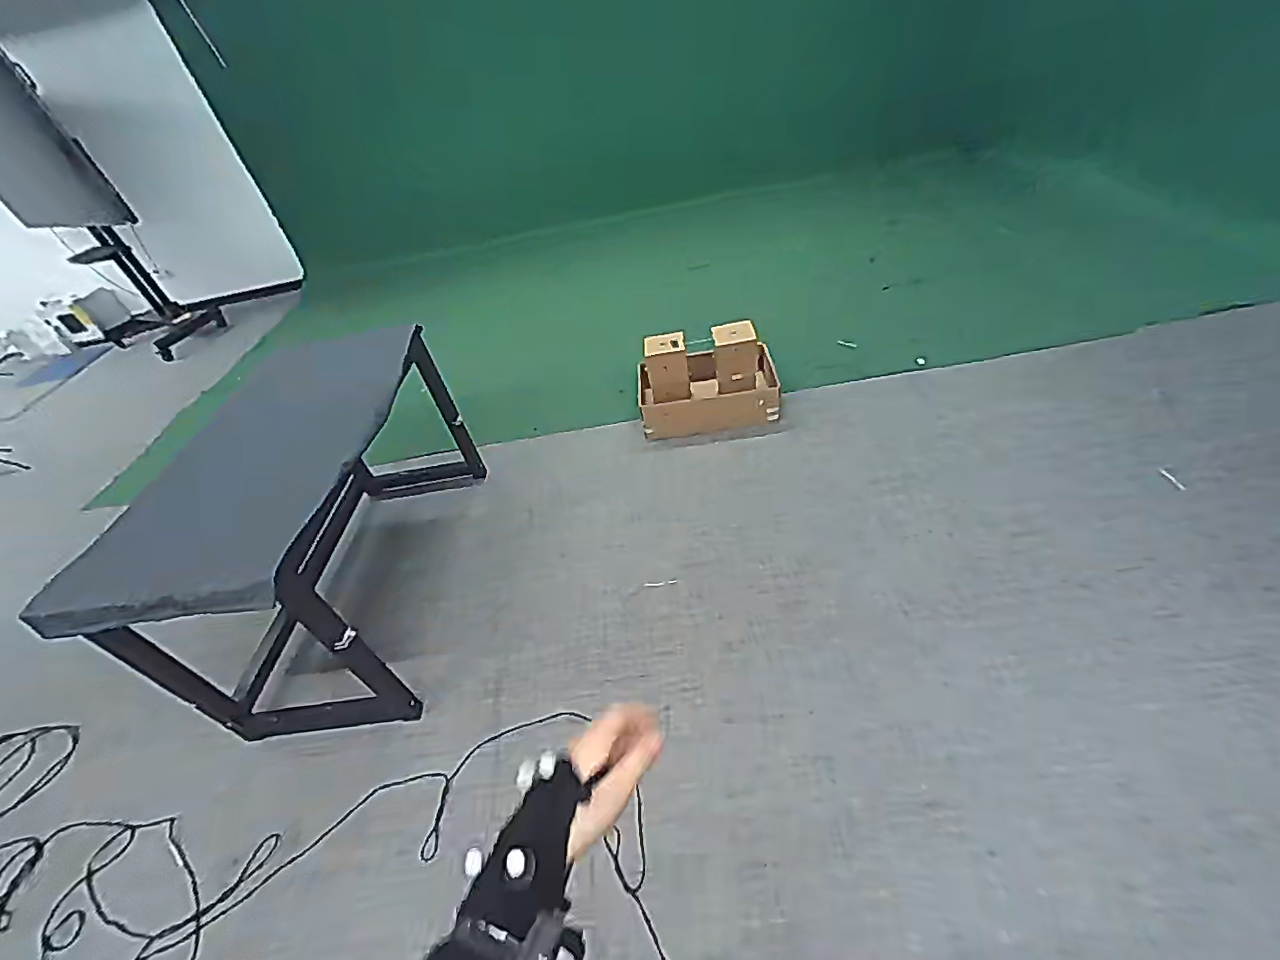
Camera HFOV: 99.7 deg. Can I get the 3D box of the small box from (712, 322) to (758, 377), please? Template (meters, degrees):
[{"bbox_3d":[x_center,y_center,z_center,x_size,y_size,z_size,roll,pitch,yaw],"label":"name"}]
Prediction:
[{"bbox_3d":[0.417,-0.566,2.364,0.179,0.176,0.168,-9,43,5],"label":"small box"}]

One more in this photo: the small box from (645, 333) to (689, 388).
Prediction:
[{"bbox_3d":[0.122,-0.526,2.390,0.179,0.176,0.168,-7,42,7],"label":"small box"}]

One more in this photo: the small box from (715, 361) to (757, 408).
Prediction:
[{"bbox_3d":[0.440,-0.442,2.467,0.168,0.176,0.179,-7,43,8],"label":"small box"}]
